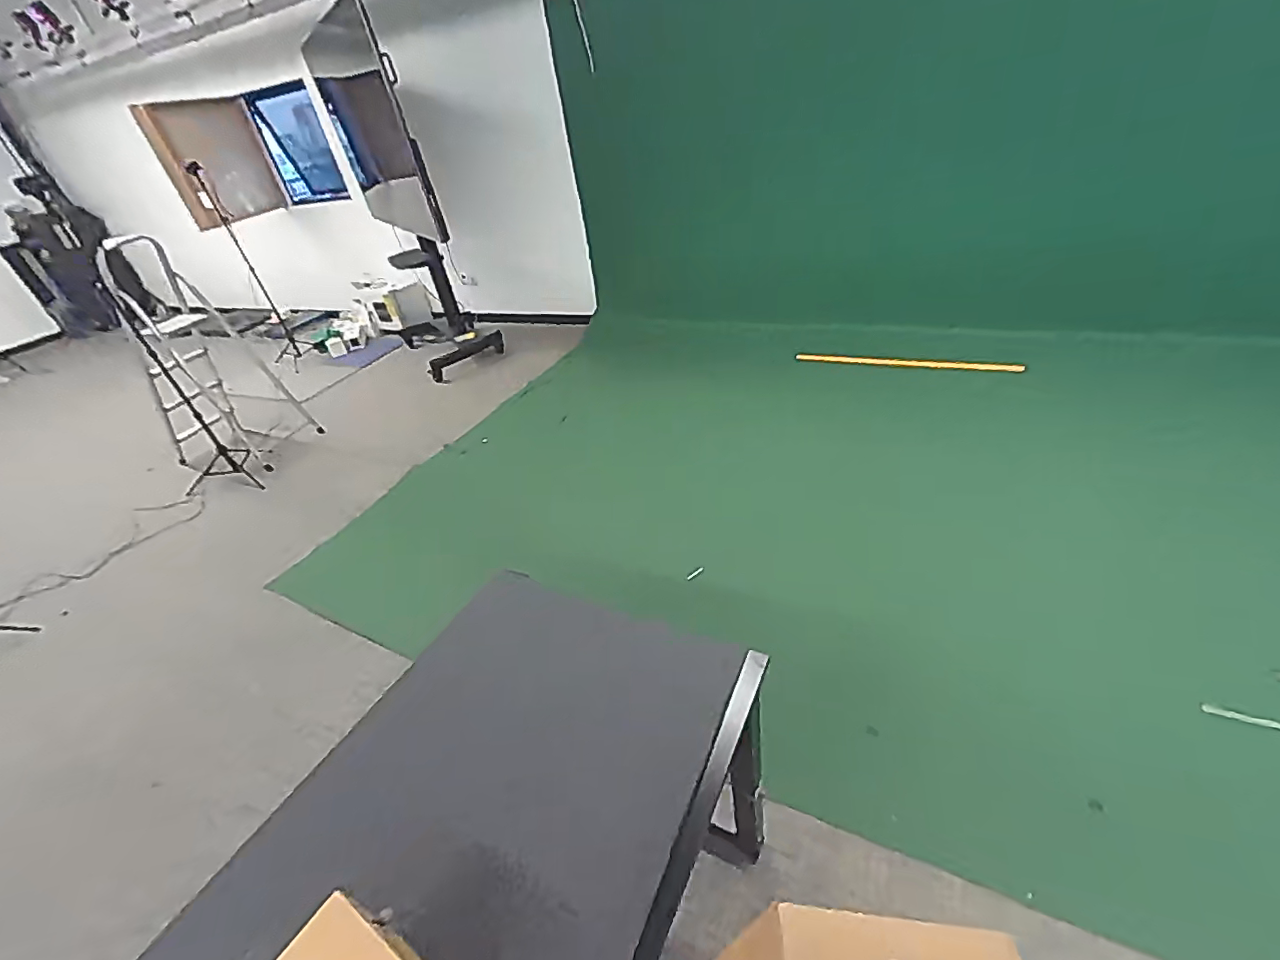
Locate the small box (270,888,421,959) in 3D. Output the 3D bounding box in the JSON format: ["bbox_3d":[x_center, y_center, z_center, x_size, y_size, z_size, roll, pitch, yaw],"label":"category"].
[{"bbox_3d":[-0.283,0.555,0.519,0.179,0.176,0.168,14,42,31],"label":"small box"}]
